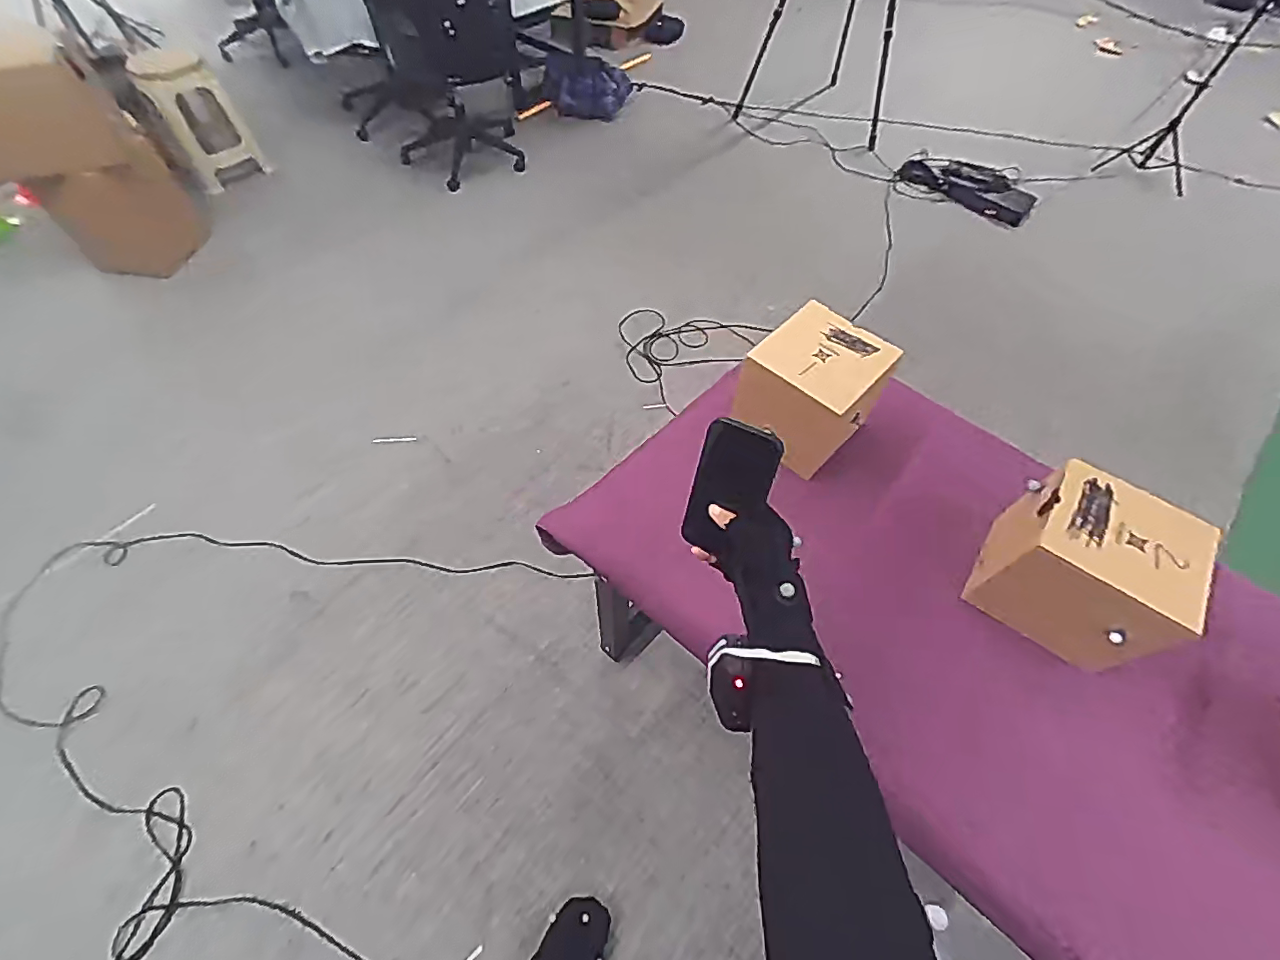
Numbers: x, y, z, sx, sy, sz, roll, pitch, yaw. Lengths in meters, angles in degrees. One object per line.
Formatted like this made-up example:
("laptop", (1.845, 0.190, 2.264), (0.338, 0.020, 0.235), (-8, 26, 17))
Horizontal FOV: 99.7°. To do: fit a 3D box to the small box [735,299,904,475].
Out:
("small box", (0.270, -0.143, 0.856), (0.168, 0.176, 0.179), (40, 65, 21))
